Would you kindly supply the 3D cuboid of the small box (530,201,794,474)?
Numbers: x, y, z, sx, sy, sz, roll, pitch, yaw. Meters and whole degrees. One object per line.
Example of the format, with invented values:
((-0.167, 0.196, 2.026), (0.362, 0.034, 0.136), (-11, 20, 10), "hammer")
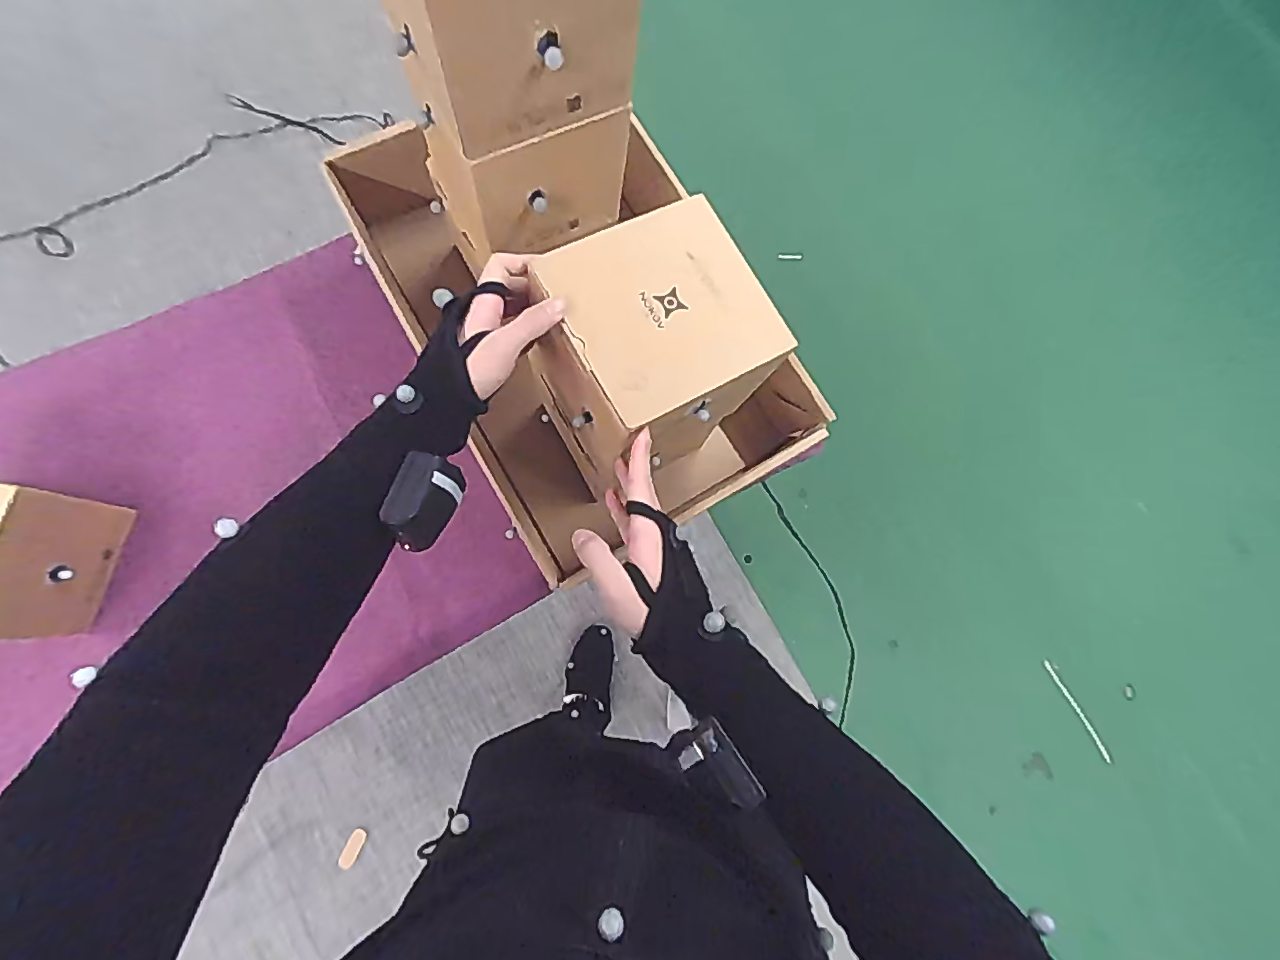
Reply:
((0.009, -0.124, 0.529), (0.179, 0.176, 0.168), (-28, 84, -15), "small box")

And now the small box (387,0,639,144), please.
((-0.106, -0.398, 0.413), (0.168, 0.176, 0.179), (-27, 84, -11), "small box")

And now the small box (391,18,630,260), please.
((-0.125, -0.364, 0.573), (0.168, 0.176, 0.179), (-27, 83, -11), "small box")

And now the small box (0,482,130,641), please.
((-0.758, 0.084, 0.618), (0.179, 0.176, 0.168), (12, 76, -4), "small box")
